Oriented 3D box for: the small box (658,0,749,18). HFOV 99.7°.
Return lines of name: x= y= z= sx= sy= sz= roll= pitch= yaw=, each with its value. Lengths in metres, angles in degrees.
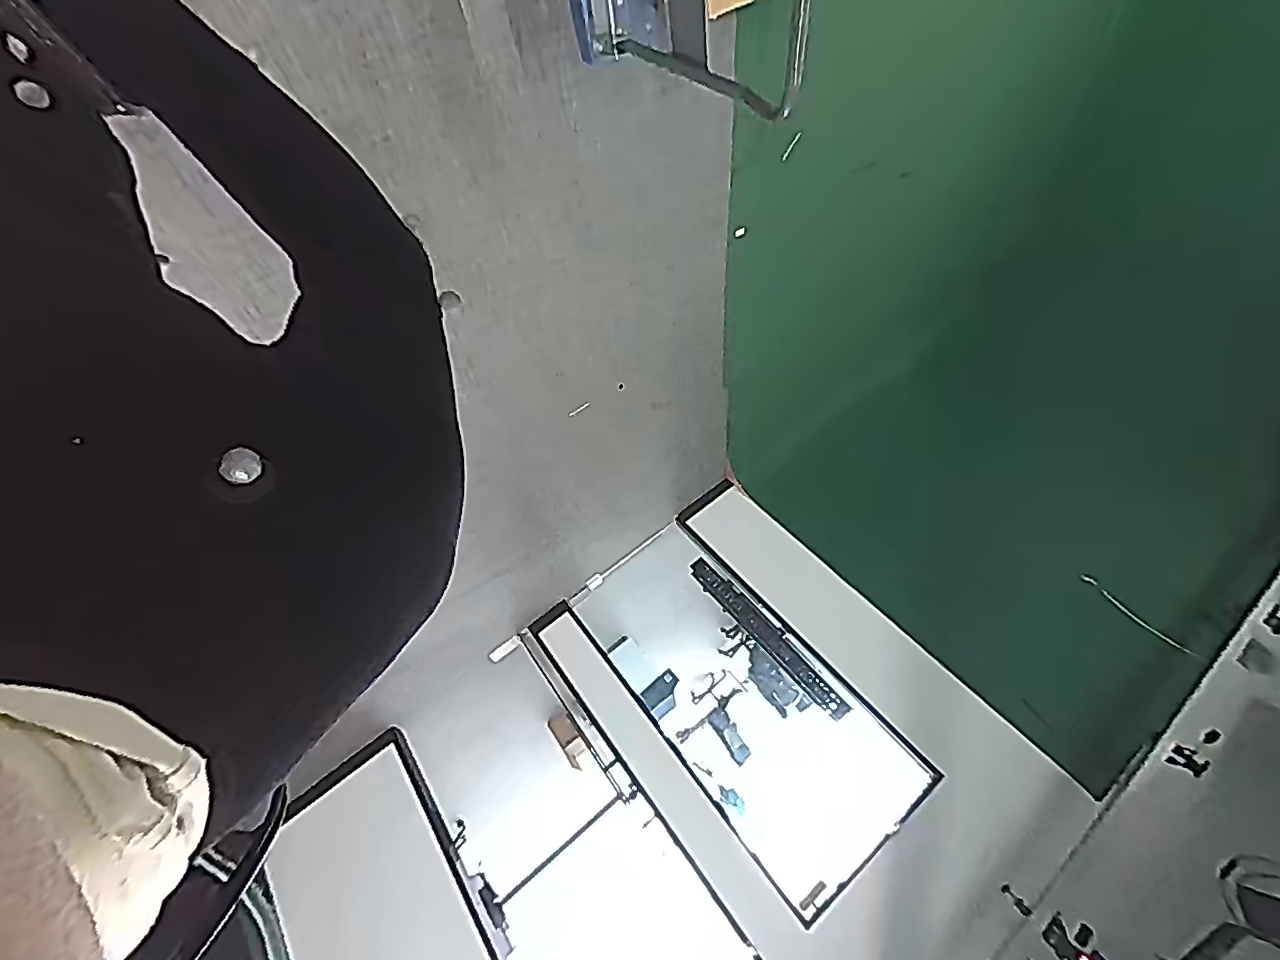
small box: x=0.155 y=-1.247 z=1.293 sx=0.179 sy=0.176 sz=0.168 roll=-33 pitch=148 yaw=-16
